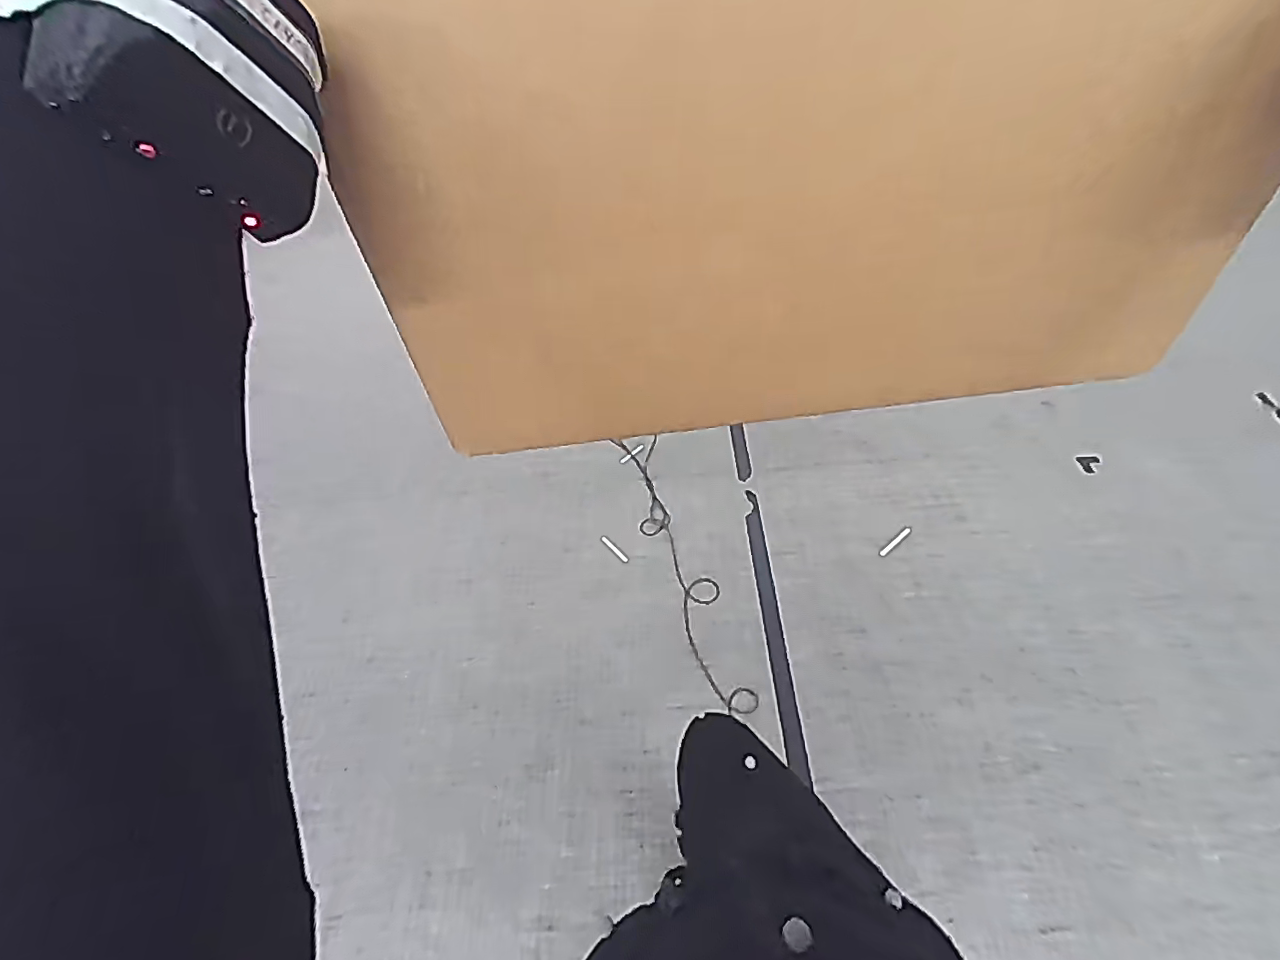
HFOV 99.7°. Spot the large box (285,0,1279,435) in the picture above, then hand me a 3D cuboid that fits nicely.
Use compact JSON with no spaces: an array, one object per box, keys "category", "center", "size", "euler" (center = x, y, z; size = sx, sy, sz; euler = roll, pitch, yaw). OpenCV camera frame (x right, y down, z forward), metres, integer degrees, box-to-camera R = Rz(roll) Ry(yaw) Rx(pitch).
[{"category":"large box","center":[0.064,-0.256,0.319],"size":[0.408,0.320,0.320],"euler":[-7,45,0]}]
